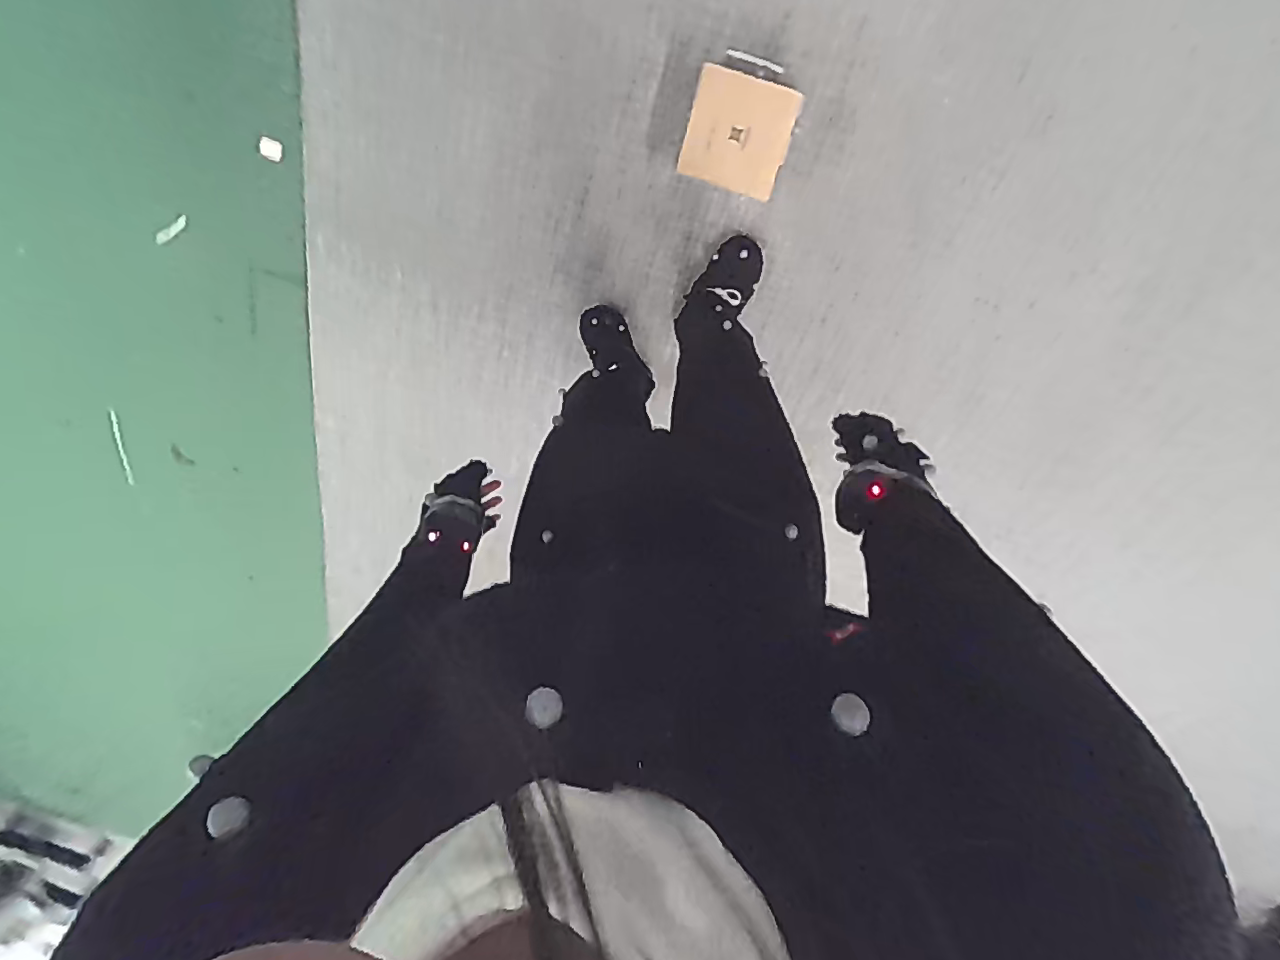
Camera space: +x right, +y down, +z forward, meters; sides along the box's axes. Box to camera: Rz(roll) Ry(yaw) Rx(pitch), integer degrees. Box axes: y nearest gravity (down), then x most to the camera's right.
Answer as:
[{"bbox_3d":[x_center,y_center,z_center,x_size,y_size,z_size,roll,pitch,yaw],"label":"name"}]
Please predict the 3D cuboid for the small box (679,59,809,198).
[{"bbox_3d":[0.186,-0.634,0.985,0.179,0.176,0.168,18,123,1],"label":"small box"}]
